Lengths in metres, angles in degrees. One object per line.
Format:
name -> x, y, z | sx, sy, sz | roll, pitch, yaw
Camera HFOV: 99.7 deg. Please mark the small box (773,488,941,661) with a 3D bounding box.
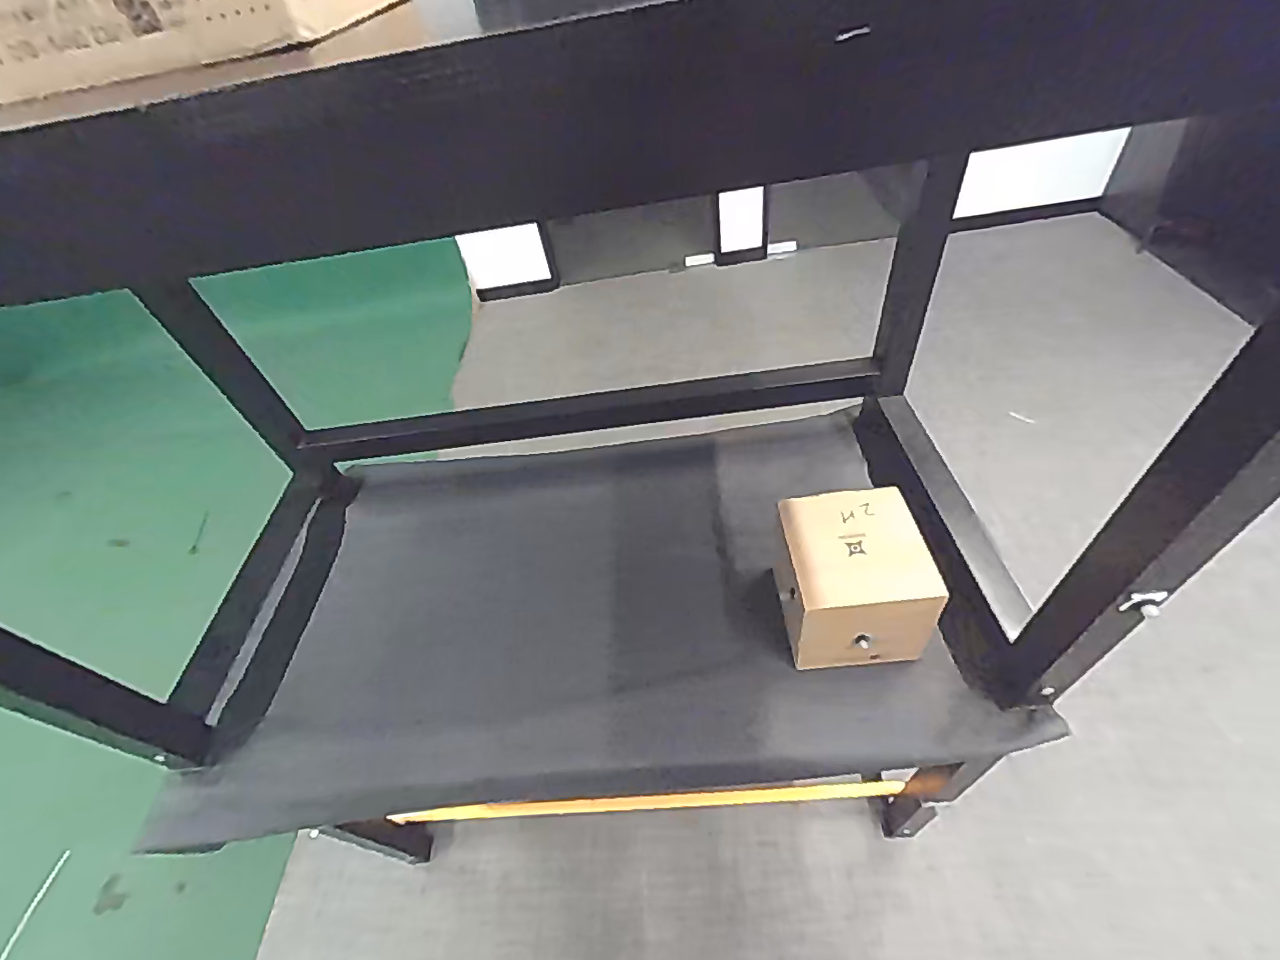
small box -> 0.282, 0.137, 0.748 | 0.168, 0.176, 0.179 | -6, 46, 5
